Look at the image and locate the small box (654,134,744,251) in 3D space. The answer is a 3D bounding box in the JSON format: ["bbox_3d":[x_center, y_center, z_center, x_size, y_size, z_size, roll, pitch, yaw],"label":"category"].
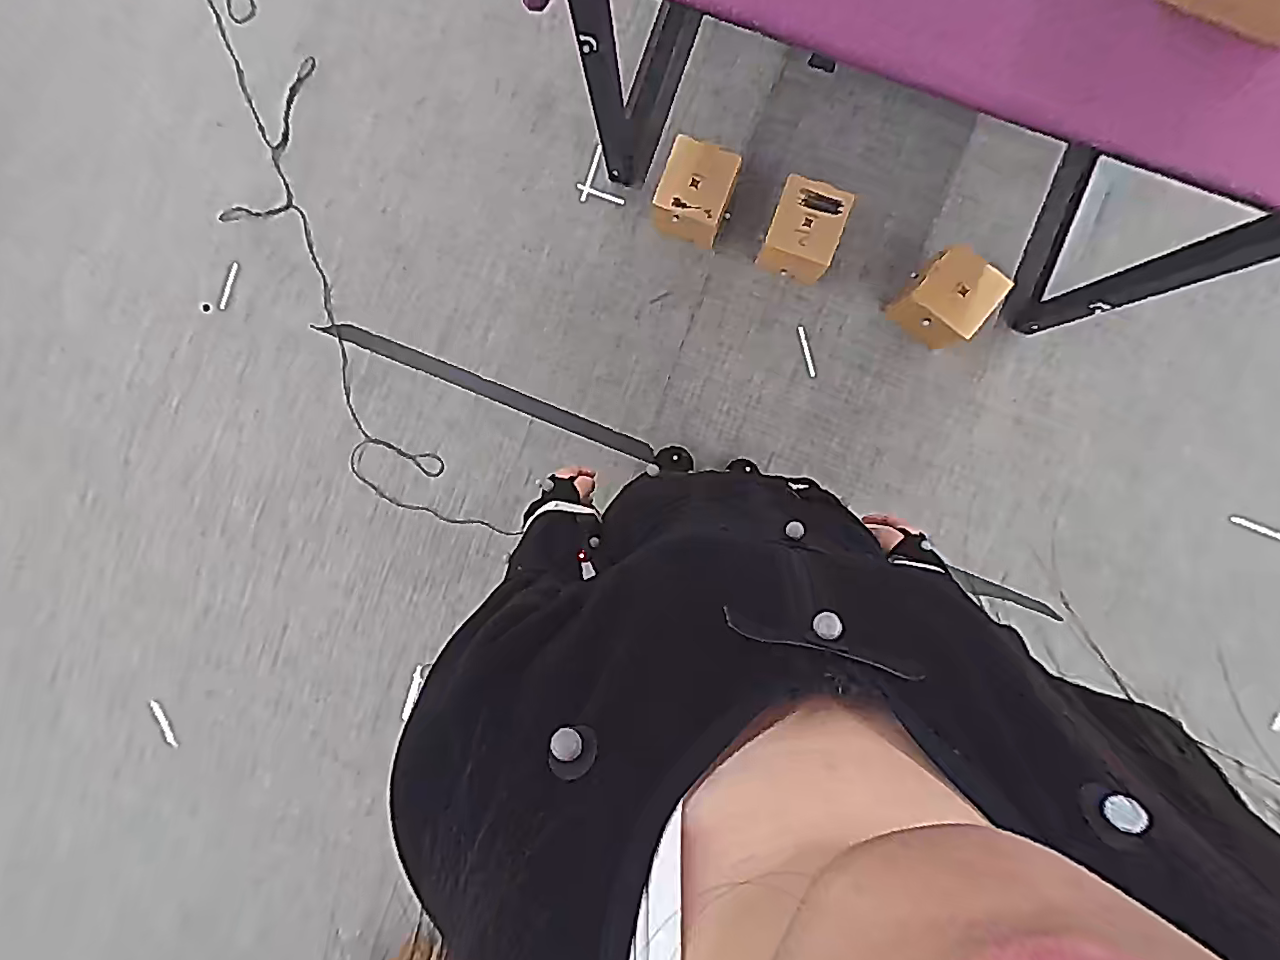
[{"bbox_3d":[0.141,-0.715,1.363,0.168,0.176,0.179,23,94,2],"label":"small box"}]

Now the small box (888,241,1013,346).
[{"bbox_3d":[0.761,-0.452,1.346,0.179,0.176,0.168,38,96,2],"label":"small box"}]

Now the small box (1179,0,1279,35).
[{"bbox_3d":[0.764,-0.652,0.598,0.179,0.176,0.168,23,94,2],"label":"small box"}]
